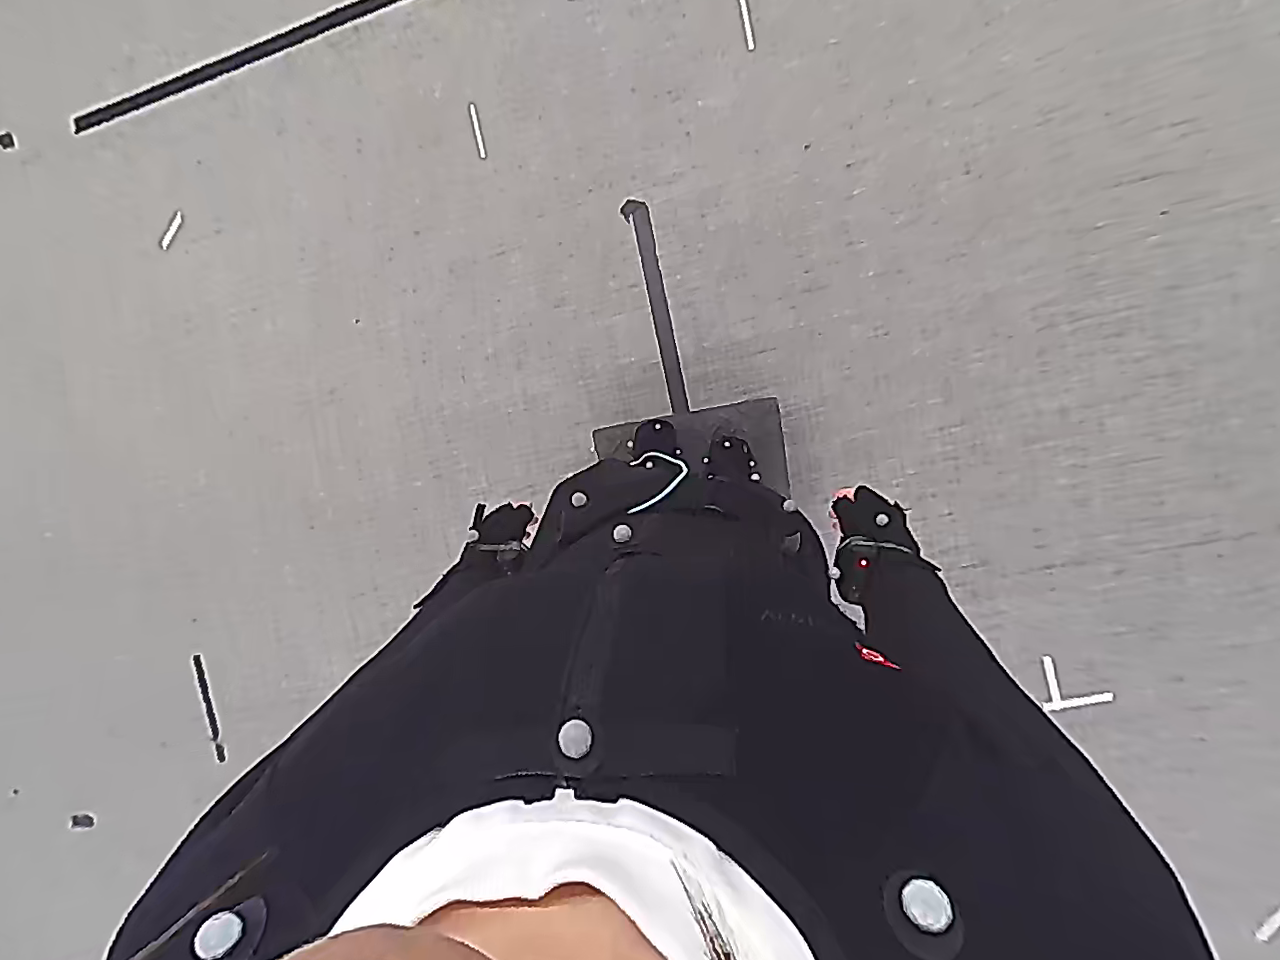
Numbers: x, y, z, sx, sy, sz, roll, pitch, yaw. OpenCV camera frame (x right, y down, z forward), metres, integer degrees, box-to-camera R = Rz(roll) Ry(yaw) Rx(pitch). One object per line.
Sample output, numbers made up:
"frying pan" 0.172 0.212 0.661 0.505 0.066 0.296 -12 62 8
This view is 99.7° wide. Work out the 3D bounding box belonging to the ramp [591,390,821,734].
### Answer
"ramp" 0.207 0.280 1.524 0.509 0.206 0.991 -11 95 8
